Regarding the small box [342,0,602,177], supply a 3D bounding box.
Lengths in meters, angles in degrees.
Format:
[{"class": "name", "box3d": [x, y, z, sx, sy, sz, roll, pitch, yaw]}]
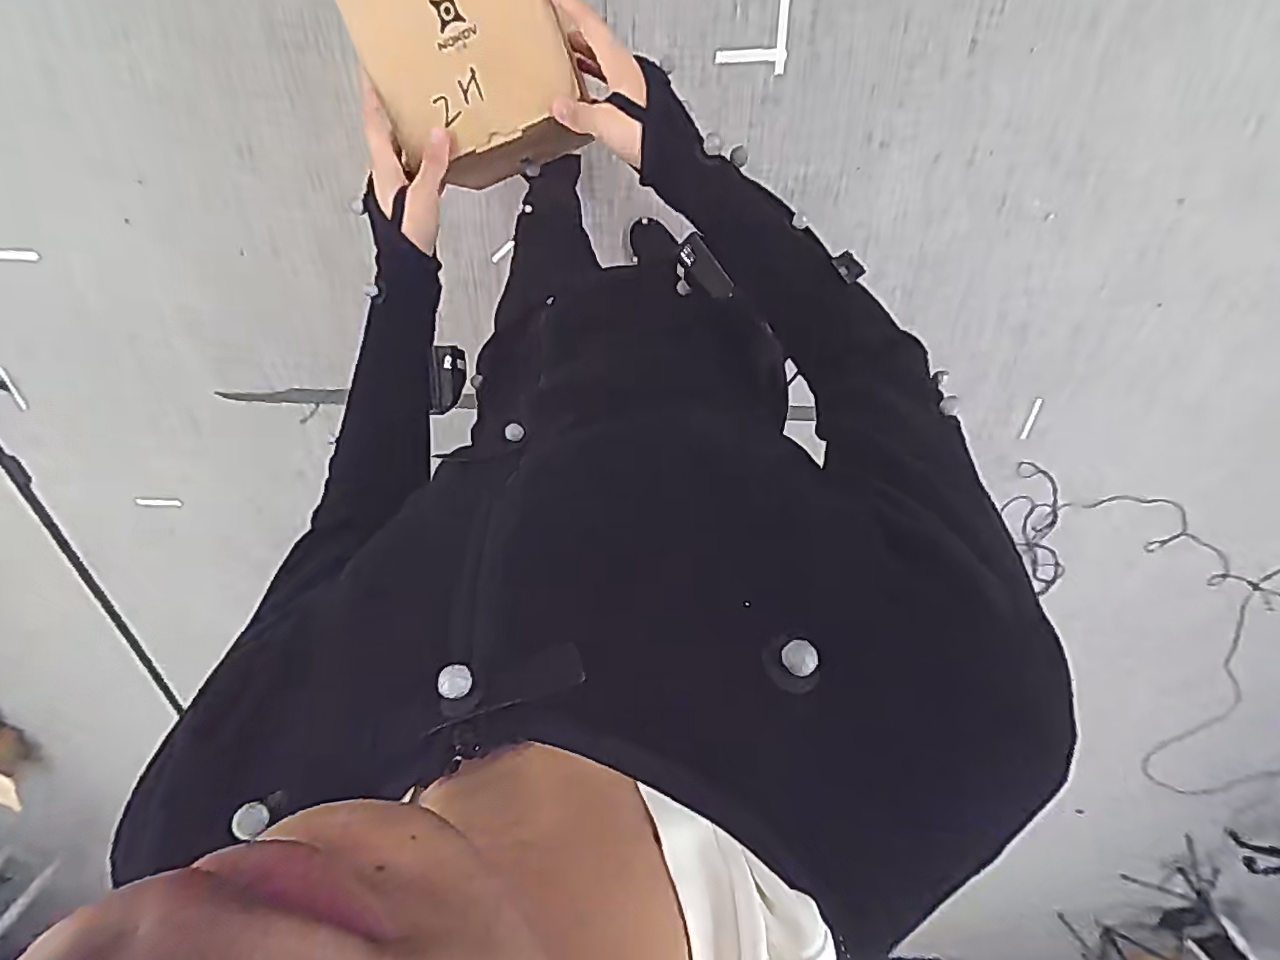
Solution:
[{"class": "small box", "box3d": [-0.145, -0.406, 0.502, 0.168, 0.176, 0.179, -15, 113, 11]}]
